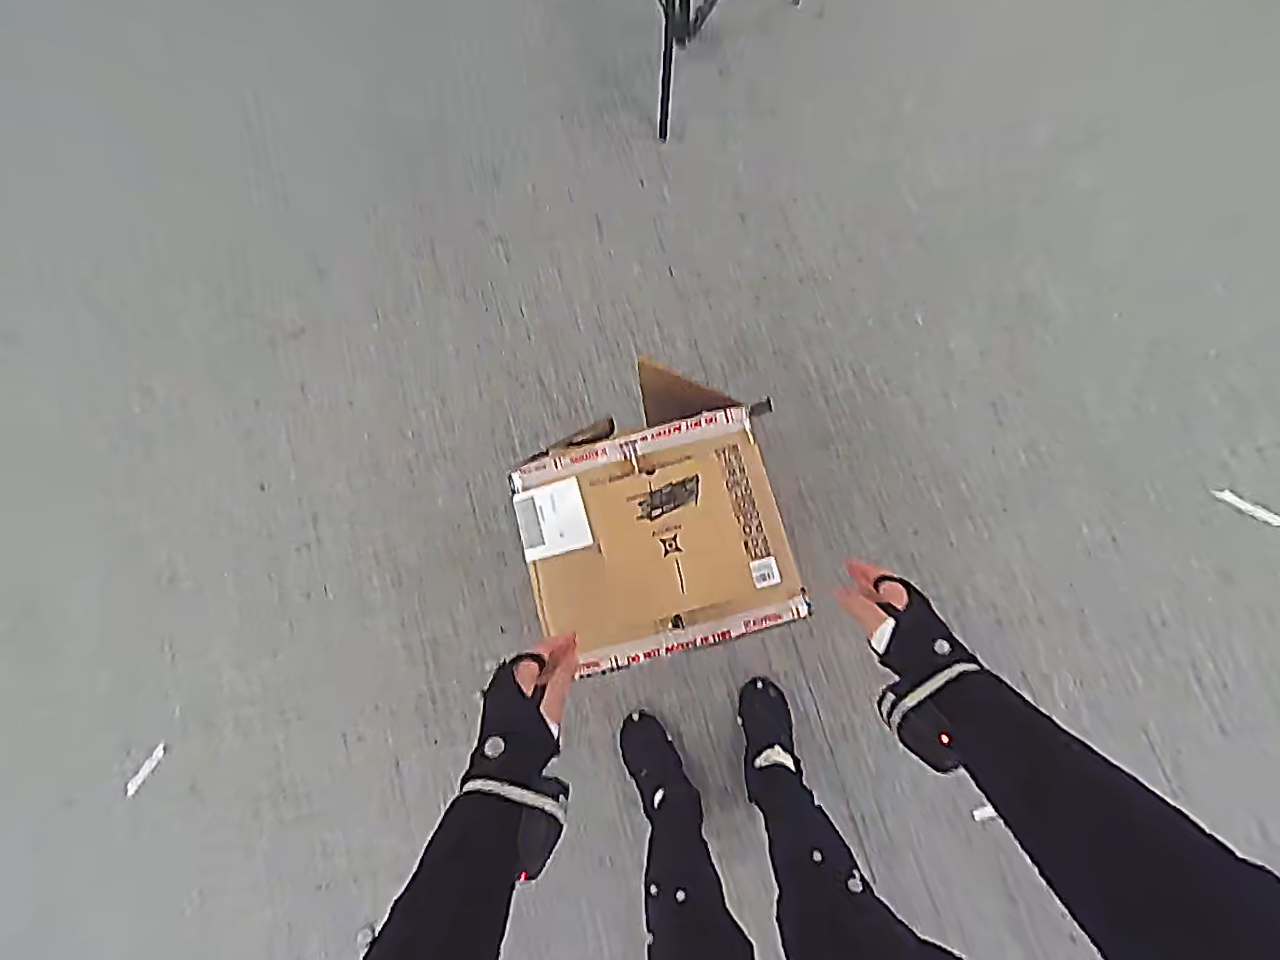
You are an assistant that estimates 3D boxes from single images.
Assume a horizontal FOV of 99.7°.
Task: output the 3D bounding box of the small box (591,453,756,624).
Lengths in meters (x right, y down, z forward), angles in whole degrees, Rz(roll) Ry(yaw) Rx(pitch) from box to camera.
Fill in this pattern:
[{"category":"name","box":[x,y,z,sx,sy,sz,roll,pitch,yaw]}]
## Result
[{"category":"small box","box":[0.040,0.080,0.729,0.168,0.176,0.179,-16,82,0]}]
